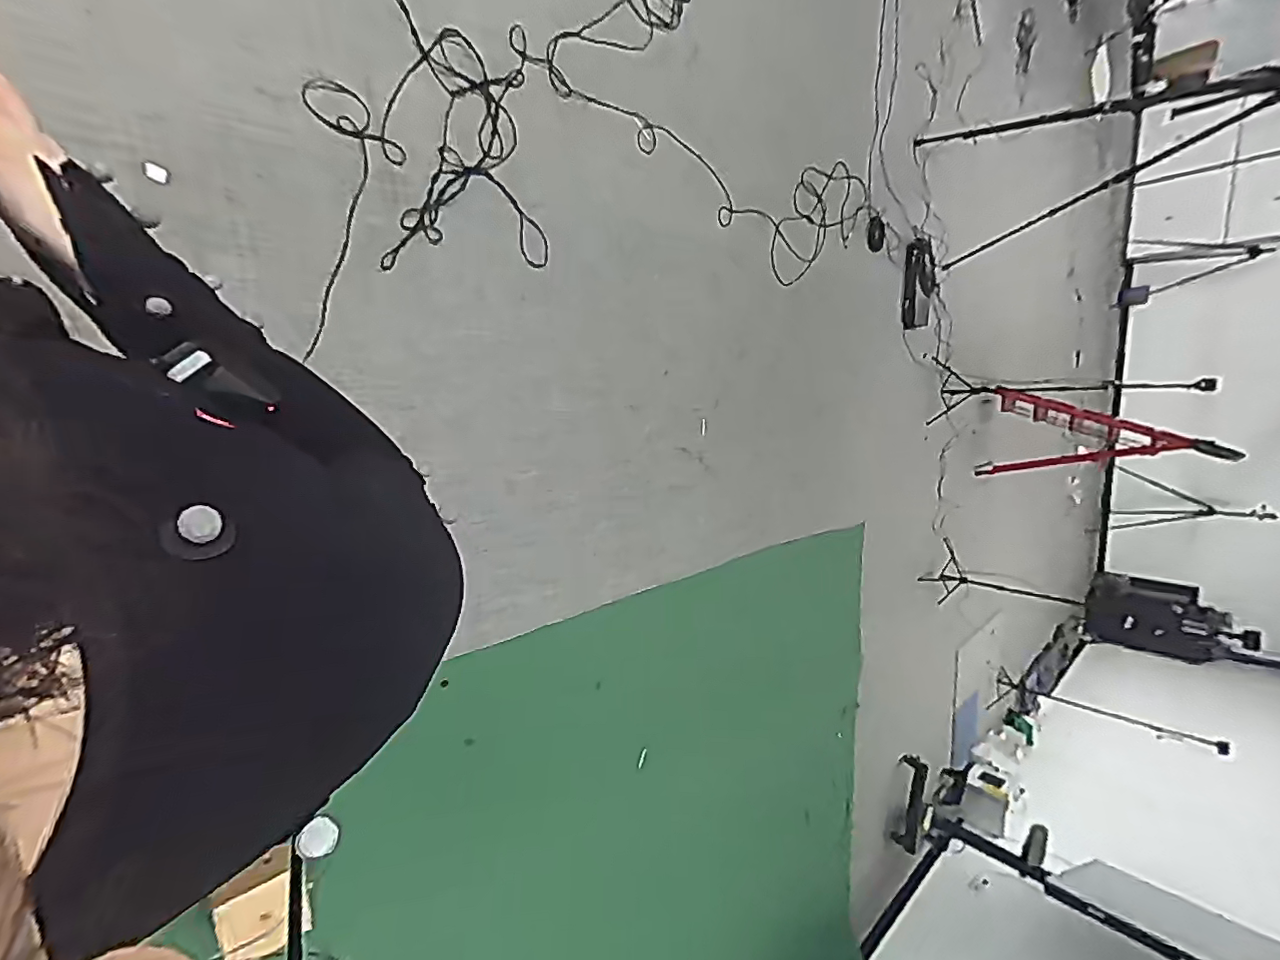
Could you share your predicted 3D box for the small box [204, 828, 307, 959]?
[{"bbox_3d":[-0.906,0.965,1.272,0.168,0.176,0.179,-10,104,-41],"label":"small box"}]
